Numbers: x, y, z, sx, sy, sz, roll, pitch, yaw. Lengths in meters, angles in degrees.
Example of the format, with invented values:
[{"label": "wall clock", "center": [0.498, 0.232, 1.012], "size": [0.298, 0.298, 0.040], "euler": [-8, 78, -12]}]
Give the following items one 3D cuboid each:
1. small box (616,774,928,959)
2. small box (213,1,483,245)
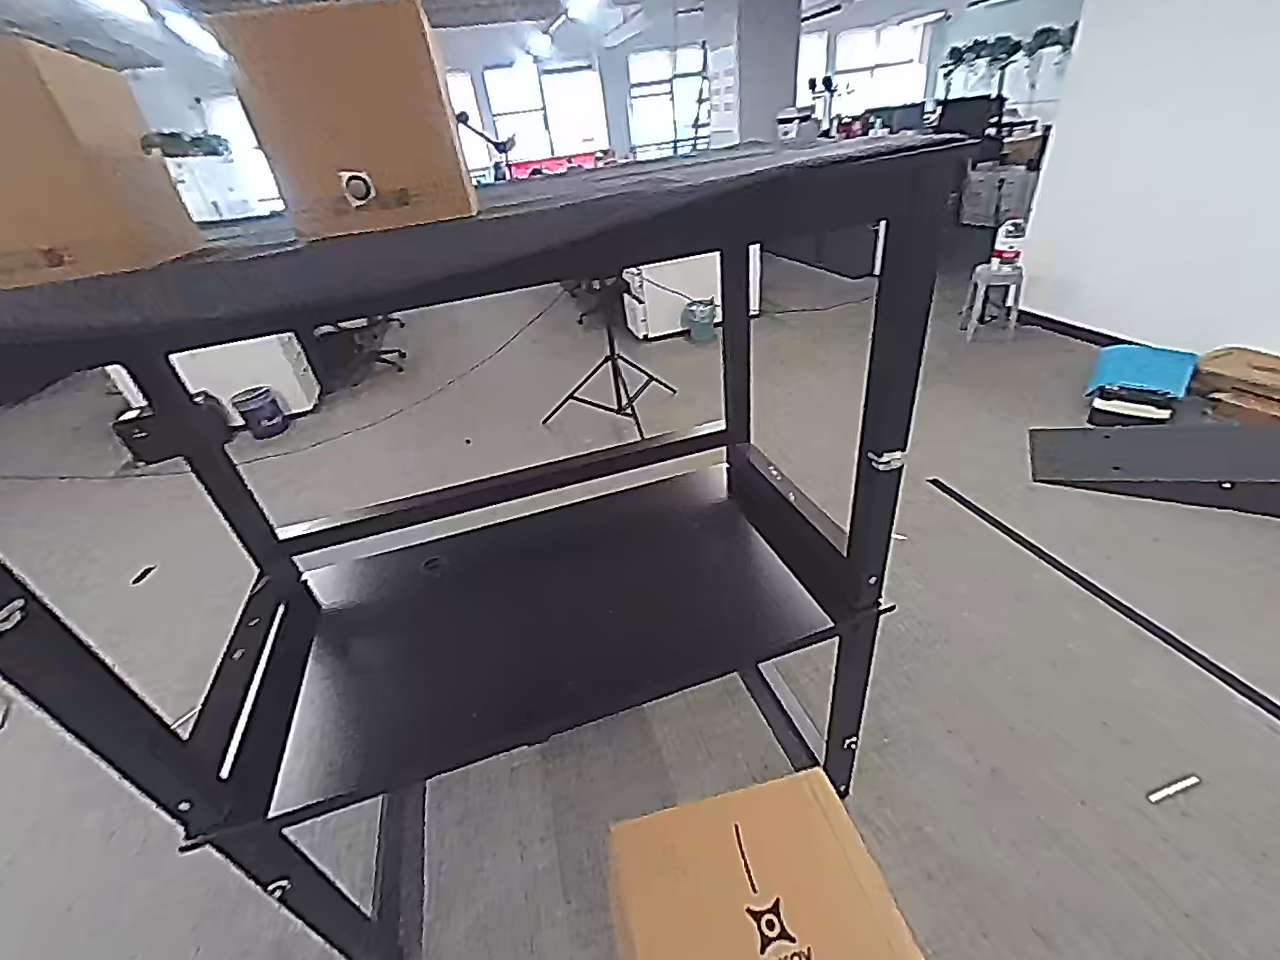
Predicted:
[{"label": "small box", "center": [0.082, 0.342, 0.363], "size": [0.168, 0.176, 0.179], "euler": [-7, 35, -13]}, {"label": "small box", "center": [-0.261, -0.340, 0.538], "size": [0.168, 0.176, 0.179], "euler": [-14, 32, -8]}]
